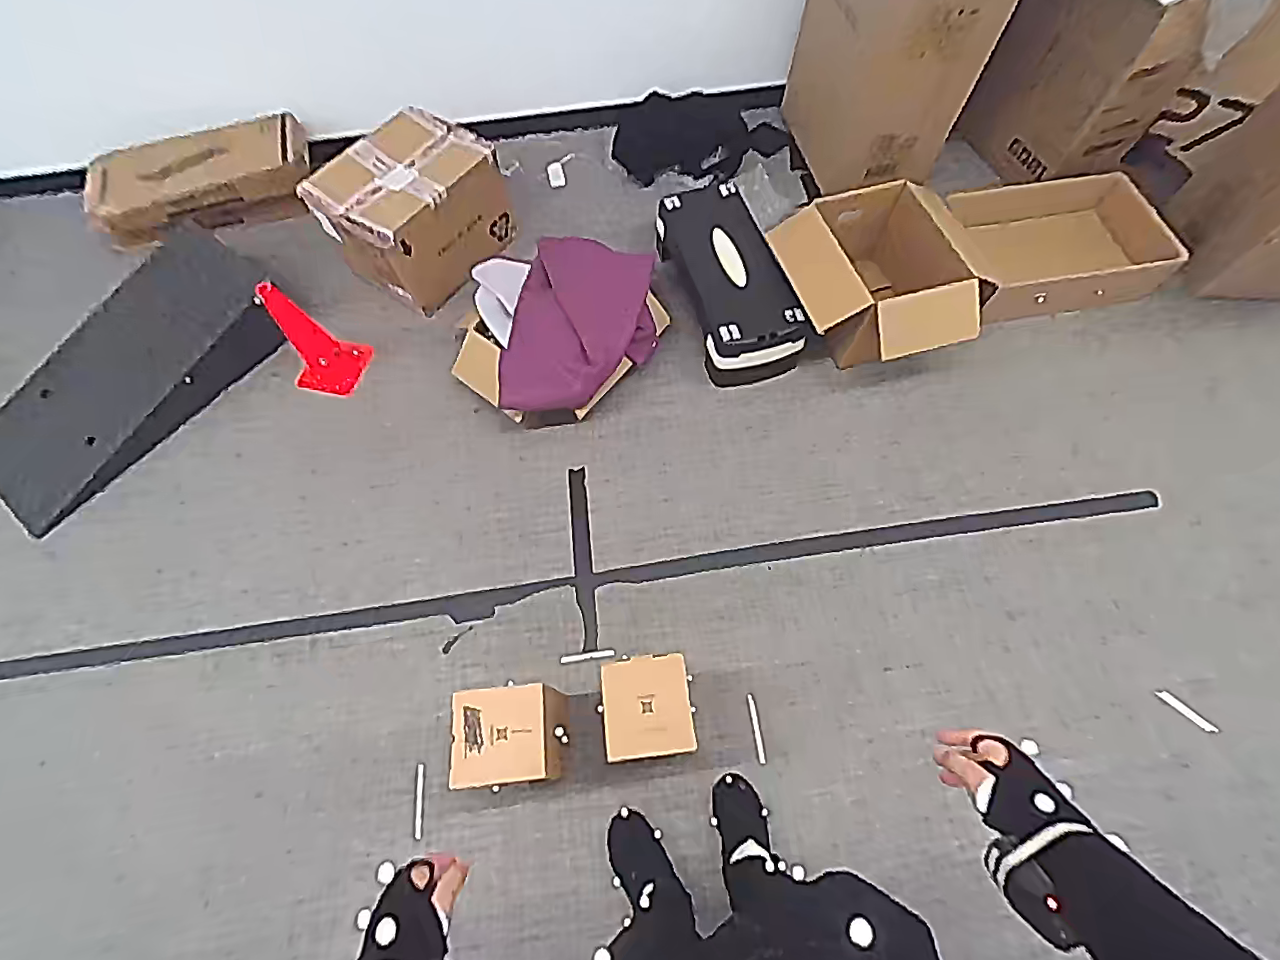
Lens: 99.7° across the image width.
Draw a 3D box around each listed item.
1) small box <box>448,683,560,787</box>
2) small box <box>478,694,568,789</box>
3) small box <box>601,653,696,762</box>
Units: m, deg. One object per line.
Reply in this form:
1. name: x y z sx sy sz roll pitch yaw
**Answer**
1. small box: -0.261 0.503 1.070 0.179 0.176 0.168 -6 65 -1
2. small box: -0.257 0.579 1.216 0.168 0.176 0.179 -6 66 0
3. small box: 0.015 0.456 1.085 0.168 0.176 0.179 -7 66 -1
